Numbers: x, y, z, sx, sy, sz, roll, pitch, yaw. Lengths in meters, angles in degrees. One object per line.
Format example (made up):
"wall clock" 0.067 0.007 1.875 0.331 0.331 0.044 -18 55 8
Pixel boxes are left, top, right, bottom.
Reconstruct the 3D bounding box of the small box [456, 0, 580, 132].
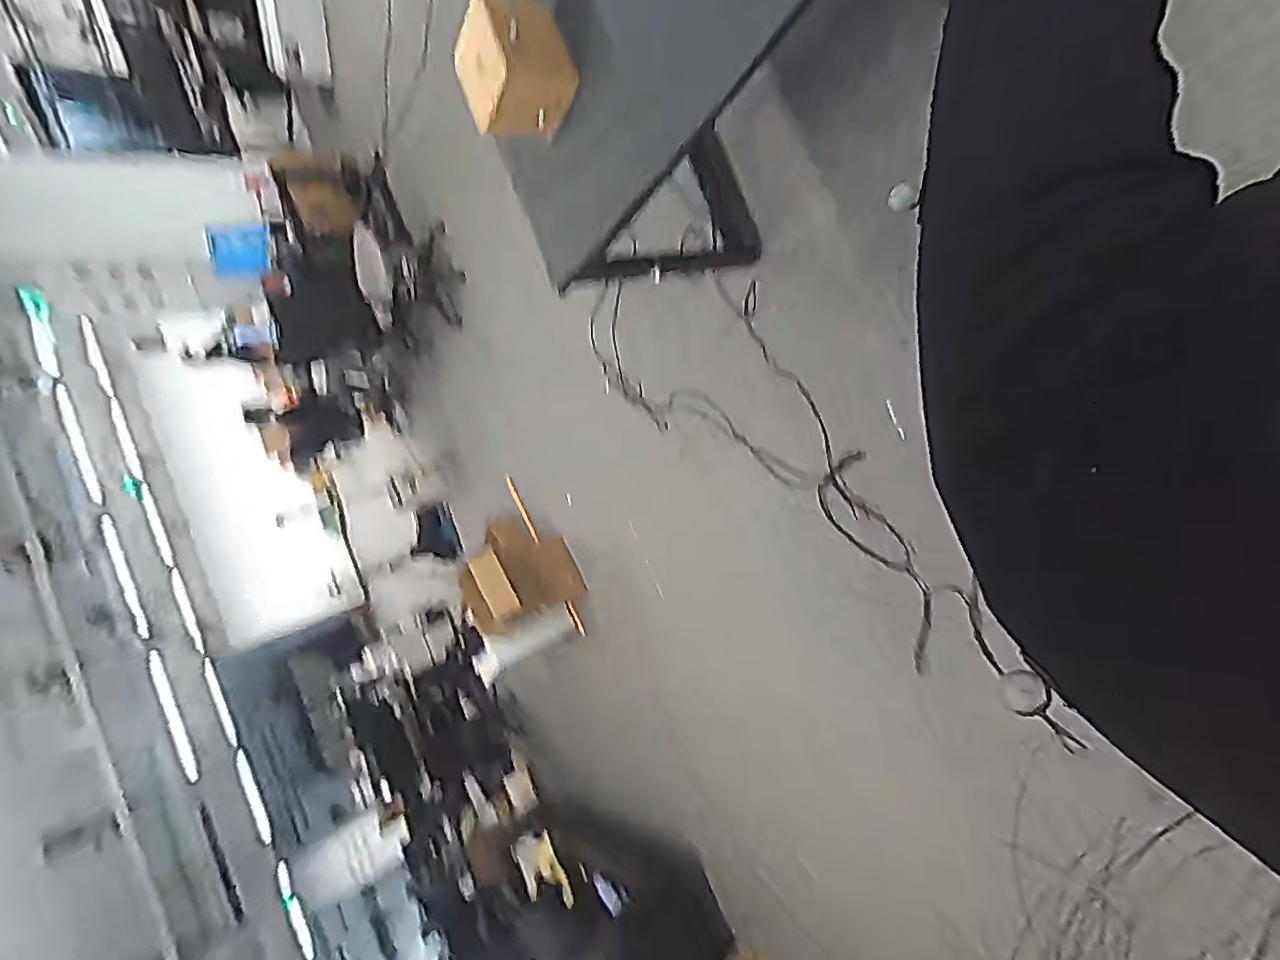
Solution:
"small box" -0.253 -0.862 1.124 0.168 0.176 0.179 -22 89 55
